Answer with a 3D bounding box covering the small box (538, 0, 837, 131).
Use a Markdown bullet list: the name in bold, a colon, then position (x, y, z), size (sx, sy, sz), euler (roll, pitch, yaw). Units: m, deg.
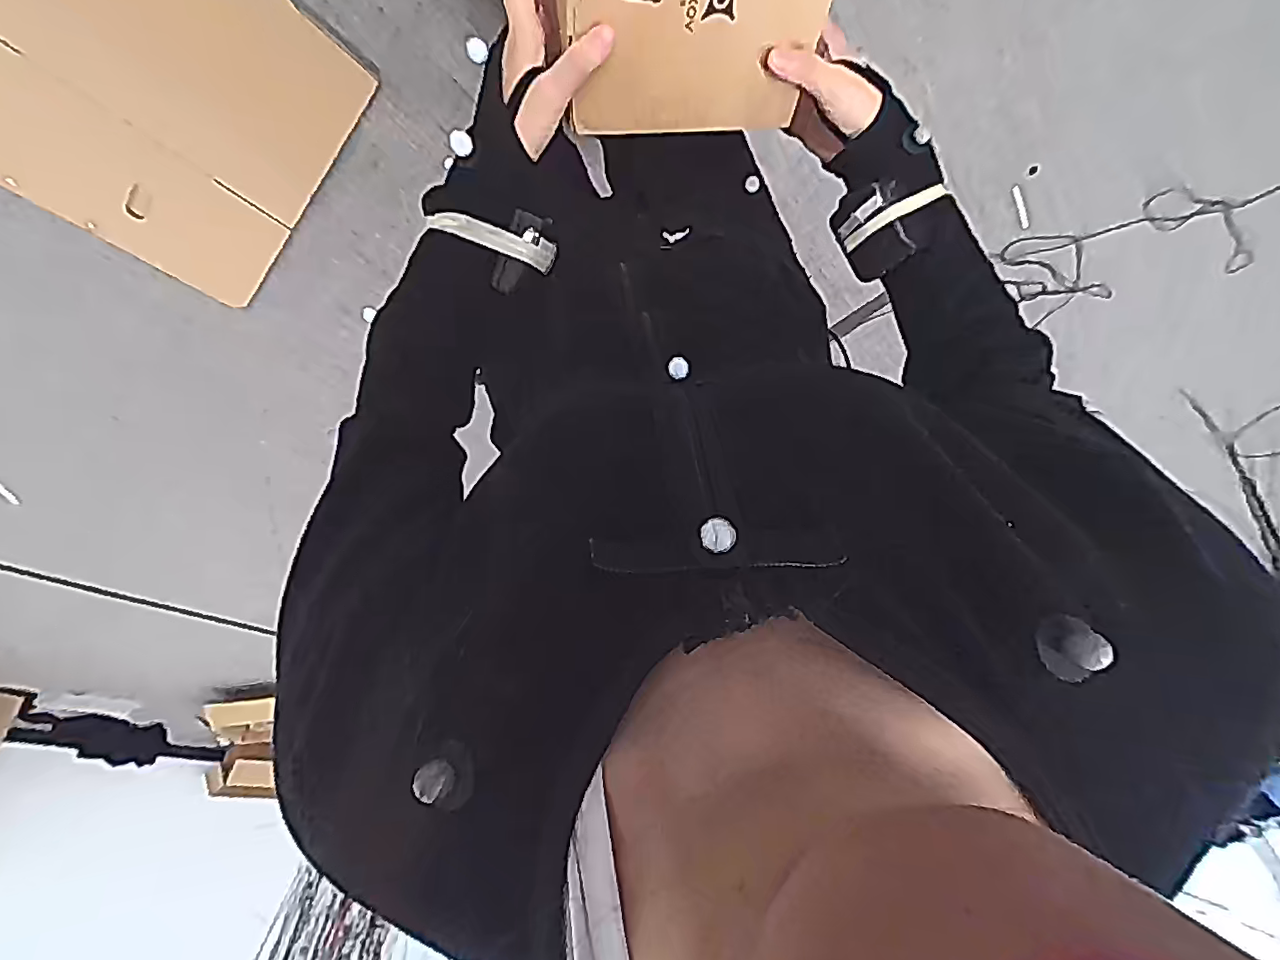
- **small box**: position (0.027, -0.372, 0.367), size (0.179, 0.176, 0.168), euler (-10, 154, -12)
